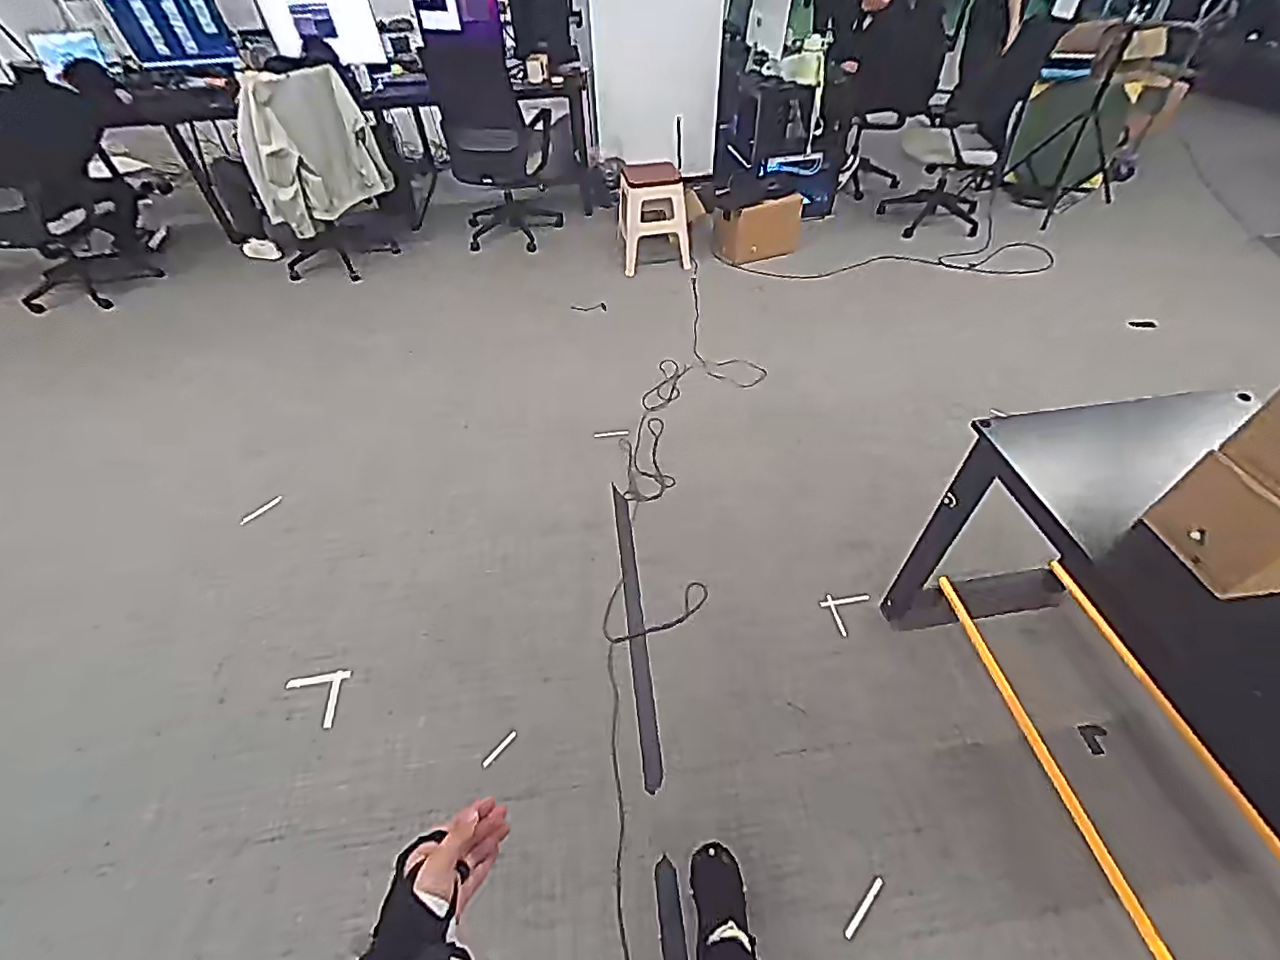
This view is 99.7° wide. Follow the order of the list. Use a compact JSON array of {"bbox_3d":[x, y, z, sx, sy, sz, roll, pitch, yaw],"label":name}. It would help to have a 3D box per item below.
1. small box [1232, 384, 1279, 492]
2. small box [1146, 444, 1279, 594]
[{"bbox_3d":[0.957,-0.059,0.706,0.179,0.176,0.168,-9,47,-5],"label":"small box"},{"bbox_3d":[0.954,0.056,0.824,0.179,0.176,0.168,-6,47,-3],"label":"small box"}]
